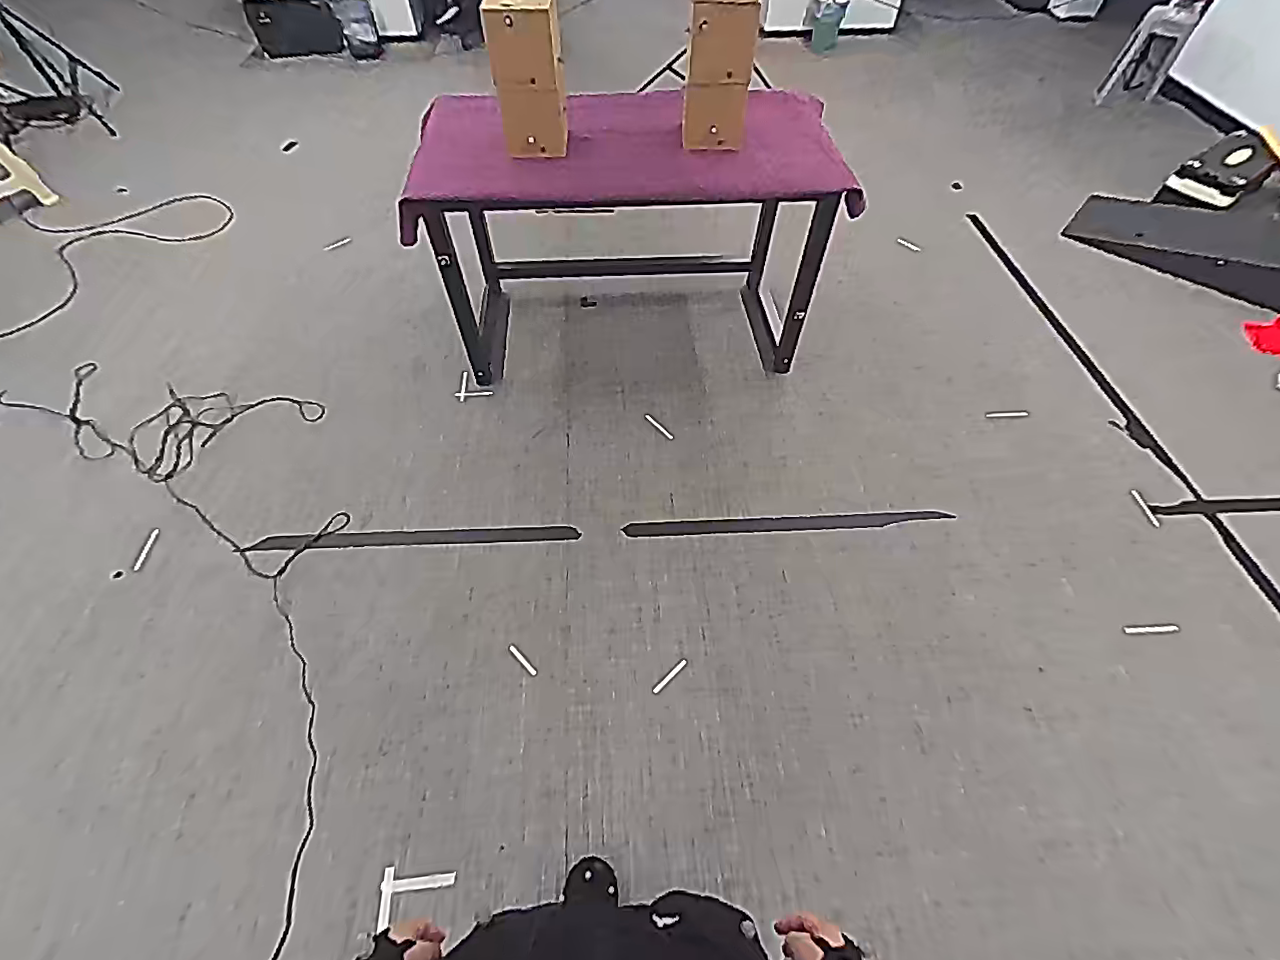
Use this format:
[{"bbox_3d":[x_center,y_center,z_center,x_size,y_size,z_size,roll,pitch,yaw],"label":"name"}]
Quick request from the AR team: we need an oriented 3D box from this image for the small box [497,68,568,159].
[{"bbox_3d":[-0.293,-1.026,1.512,0.168,0.176,0.179,-2,56,-1],"label":"small box"}]

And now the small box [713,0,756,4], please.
[{"bbox_3d":[0.208,-1.254,1.274,0.168,0.176,0.179,4,54,1],"label":"small box"}]

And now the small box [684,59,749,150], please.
[{"bbox_3d":[0.212,-1.072,1.545,0.168,0.176,0.179,1,55,2],"label":"small box"}]

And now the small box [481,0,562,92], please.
[{"bbox_3d":[-0.294,-1.120,1.378,0.168,0.176,0.179,-1,55,-1],"label":"small box"}]
